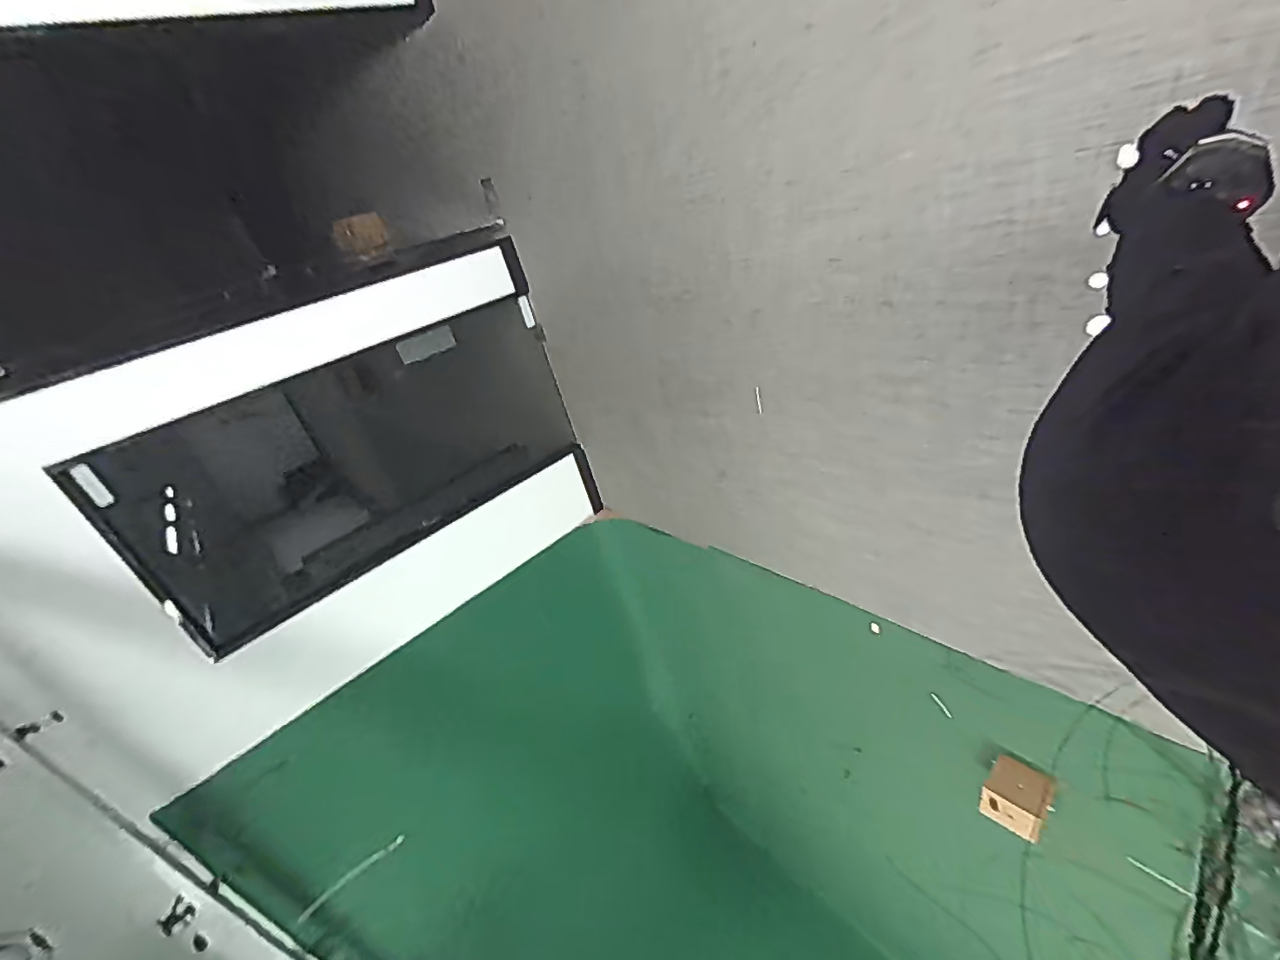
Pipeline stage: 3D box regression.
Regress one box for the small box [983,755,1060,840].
[{"bbox_3d":[1.376,1.134,1.952,0.179,0.176,0.168,20,135,46],"label":"small box"}]
